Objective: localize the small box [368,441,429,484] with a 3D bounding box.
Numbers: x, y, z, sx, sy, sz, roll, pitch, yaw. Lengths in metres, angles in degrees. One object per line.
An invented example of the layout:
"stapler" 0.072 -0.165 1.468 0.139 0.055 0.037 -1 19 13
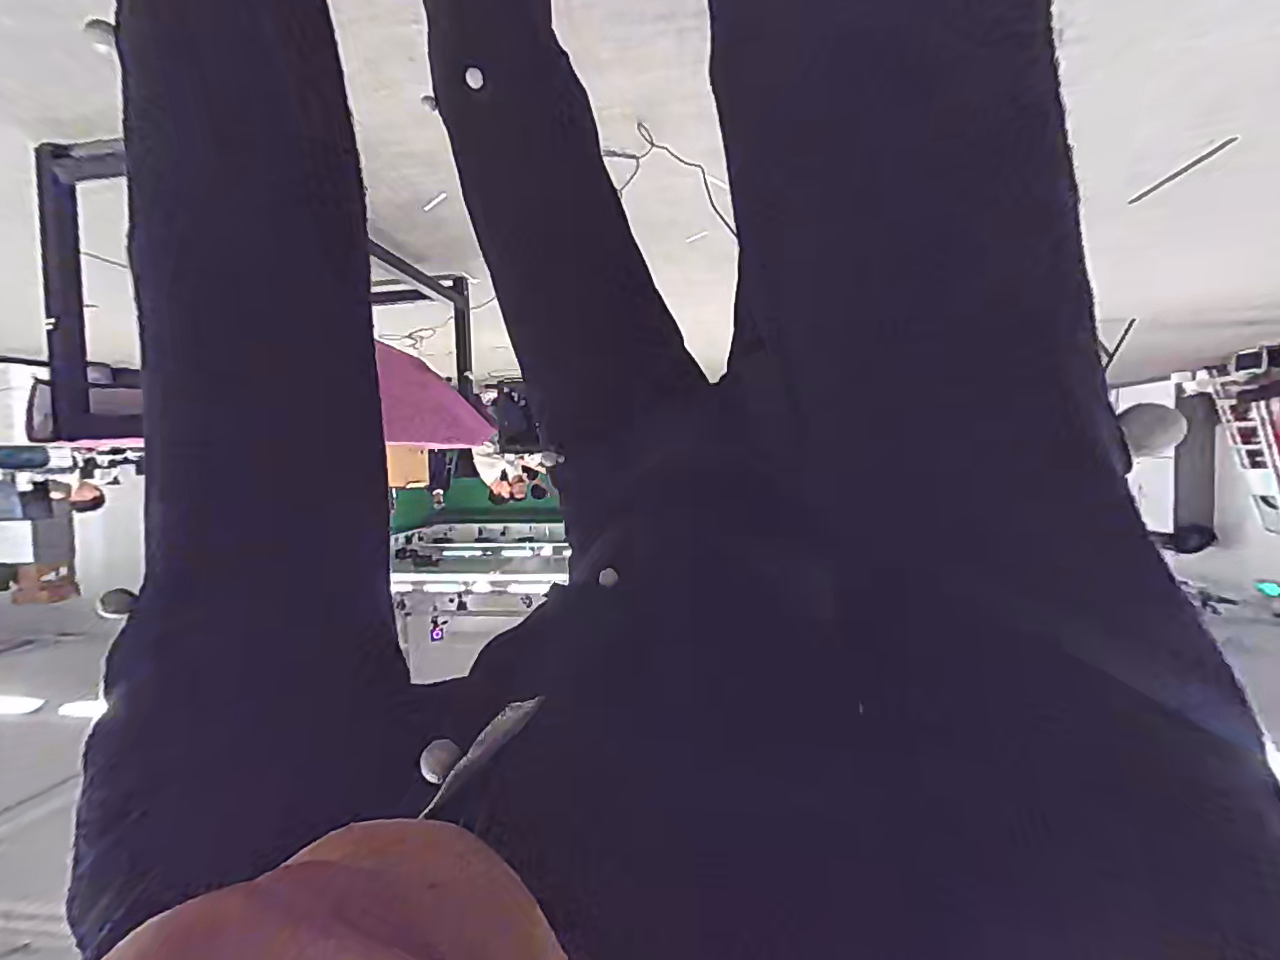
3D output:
"small box" -0.993 -0.074 2.216 0.179 0.176 0.168 0 -177 19
